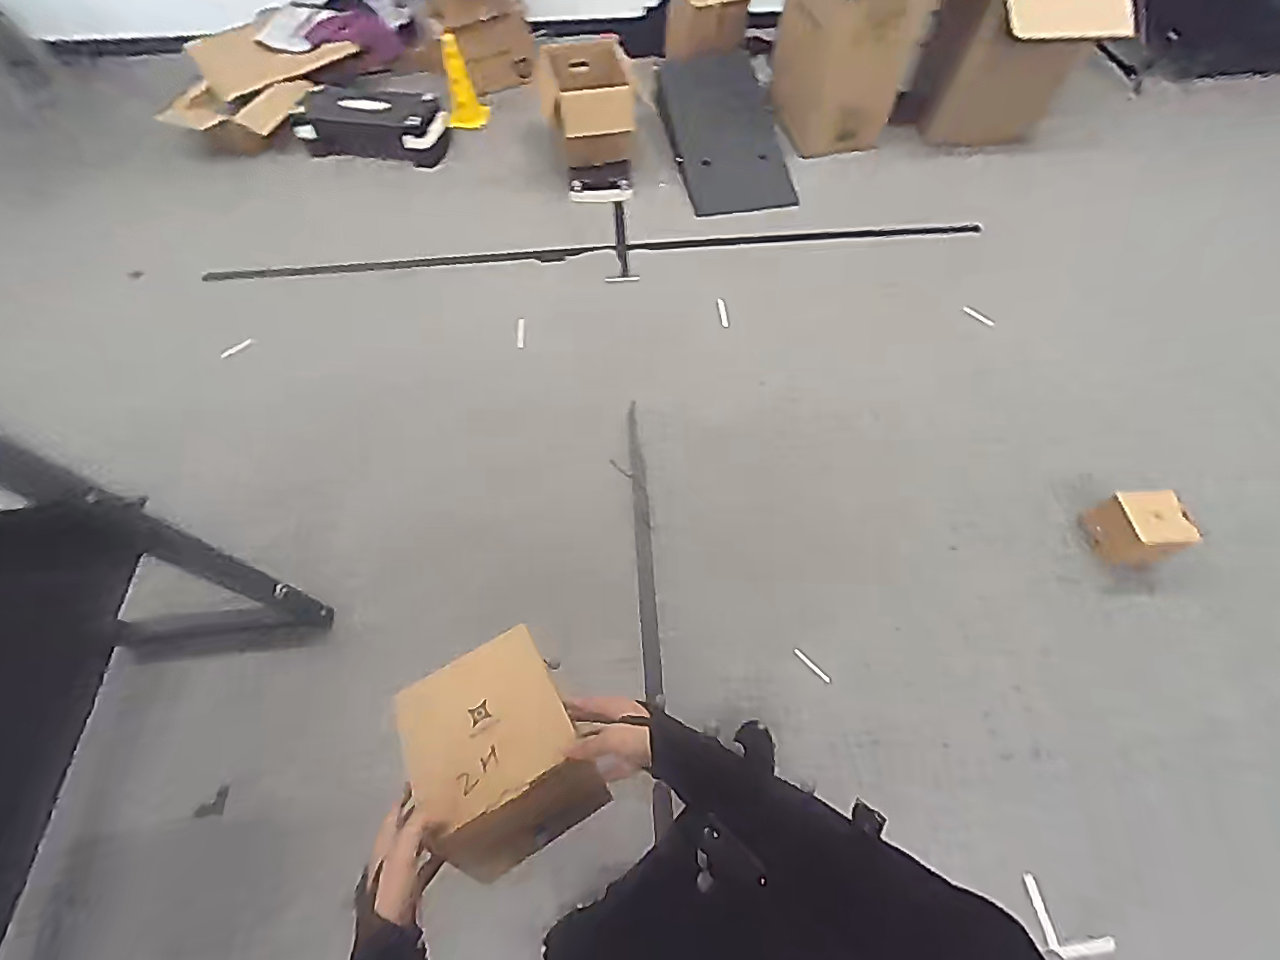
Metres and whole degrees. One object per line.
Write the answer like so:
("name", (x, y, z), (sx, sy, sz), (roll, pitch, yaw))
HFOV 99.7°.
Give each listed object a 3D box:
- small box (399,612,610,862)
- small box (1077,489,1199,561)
("small box", (-0.152, 0.296, 0.628), (0.168, 0.176, 0.179), (-26, 46, -15))
("small box", (1.486, 0.138, 1.626), (0.179, 0.176, 0.168), (-2, 59, -1))
